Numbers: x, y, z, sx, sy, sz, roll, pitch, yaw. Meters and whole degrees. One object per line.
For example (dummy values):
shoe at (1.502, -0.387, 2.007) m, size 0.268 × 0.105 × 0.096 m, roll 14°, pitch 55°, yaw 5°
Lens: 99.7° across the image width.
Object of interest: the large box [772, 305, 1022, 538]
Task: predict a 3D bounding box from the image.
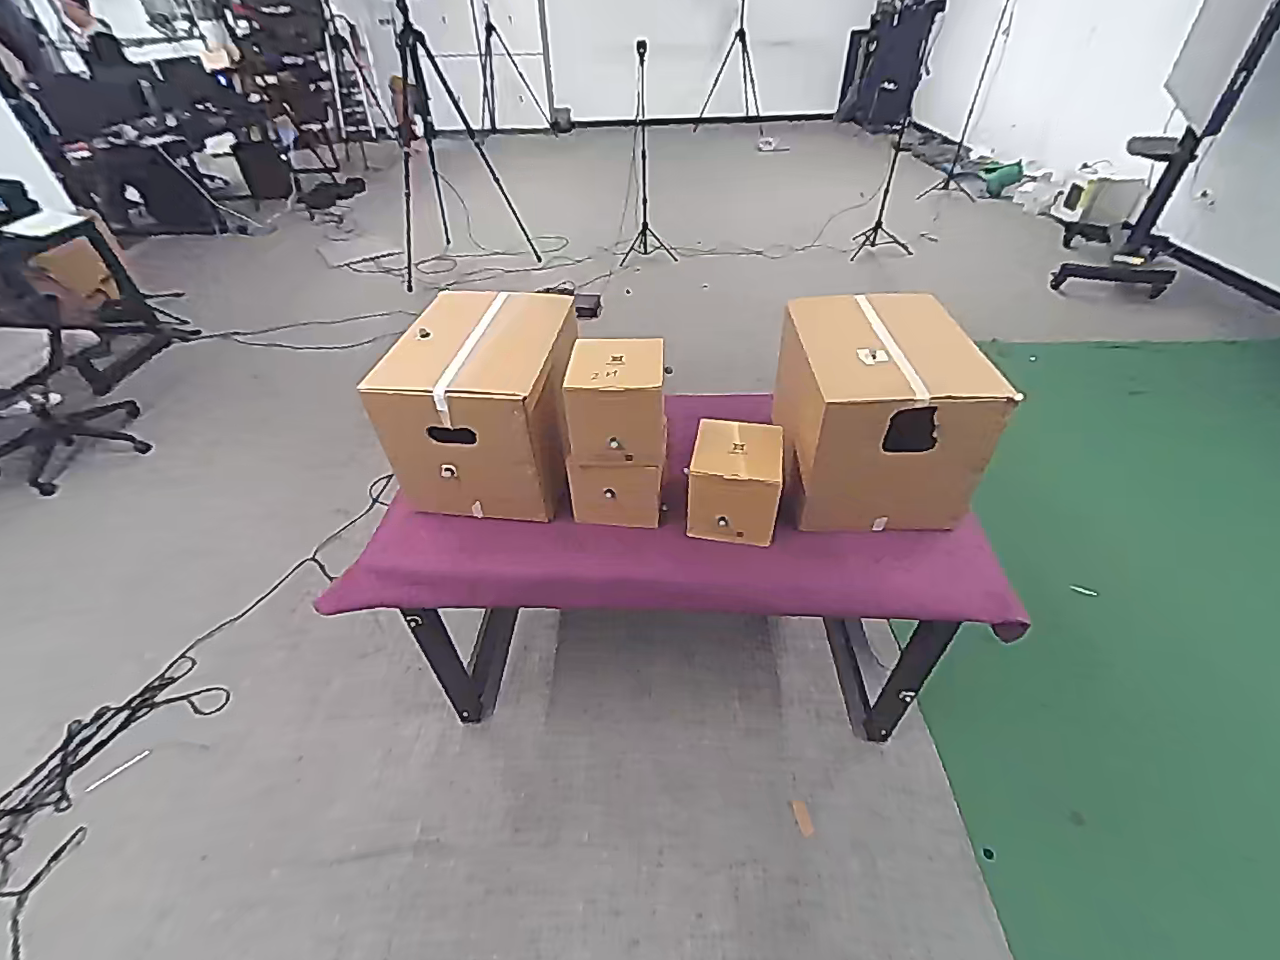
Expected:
large box at (0.473, -0.130, 1.119) m, size 0.320 × 0.320 × 0.408 m, roll -1°, pitch 42°, yaw 4°

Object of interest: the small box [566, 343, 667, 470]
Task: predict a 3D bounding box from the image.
small box at (-0.036, -0.138, 1.000) m, size 0.168 × 0.176 × 0.179 m, roll 1°, pitch 41°, yaw 4°
